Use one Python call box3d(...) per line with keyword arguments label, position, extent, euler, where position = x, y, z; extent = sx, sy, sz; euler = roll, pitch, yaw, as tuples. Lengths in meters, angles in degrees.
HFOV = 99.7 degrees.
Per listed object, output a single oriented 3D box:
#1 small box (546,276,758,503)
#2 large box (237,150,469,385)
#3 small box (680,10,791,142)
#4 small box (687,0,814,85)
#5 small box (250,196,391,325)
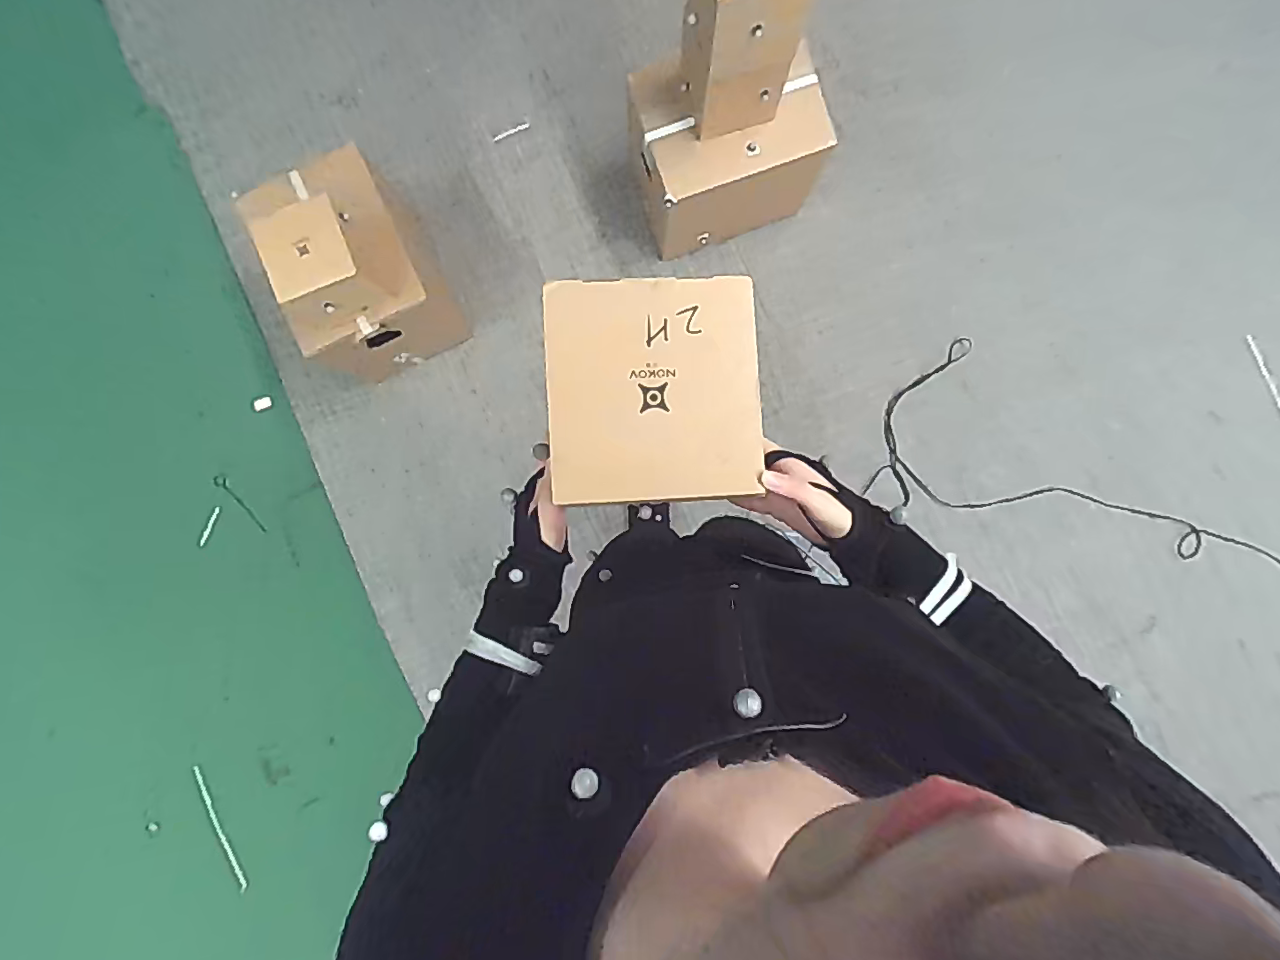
box3d(label="small box", position=(0.005, -0.068, 0.498), extent=(0.168, 0.176, 0.179), euler=(-1, 87, -5))
box3d(label="large box", position=(-0.698, -0.509, 1.375), extent=(0.320, 0.320, 0.408), euler=(-25, 88, 0))
box3d(label="small box", position=(0.189, -0.849, 1.125), extent=(0.179, 0.176, 0.168), euler=(-15, 86, 1))
box3d(label="small box", position=(0.189, -0.855, 0.961), extent=(0.179, 0.176, 0.168), euler=(-14, 86, 1))
box3d(label="small box", position=(-0.653, -0.441, 1.127), extent=(0.168, 0.176, 0.179), euler=(-22, 87, 0))
